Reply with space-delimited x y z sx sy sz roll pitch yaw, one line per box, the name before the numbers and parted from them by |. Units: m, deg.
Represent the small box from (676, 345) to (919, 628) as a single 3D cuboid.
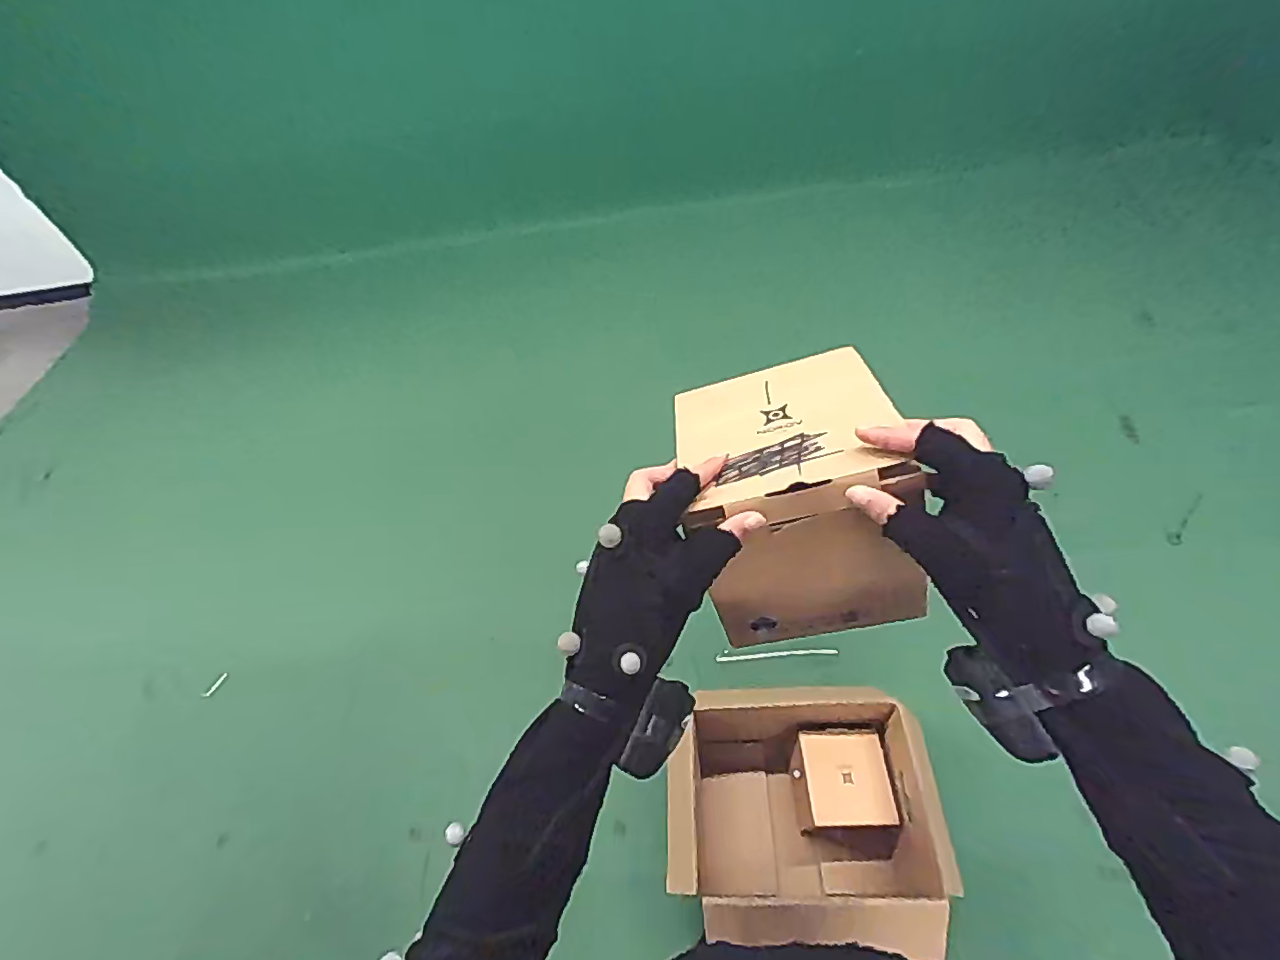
small box | 0.134 0.013 0.479 0.168 0.176 0.179 -13 38 13
